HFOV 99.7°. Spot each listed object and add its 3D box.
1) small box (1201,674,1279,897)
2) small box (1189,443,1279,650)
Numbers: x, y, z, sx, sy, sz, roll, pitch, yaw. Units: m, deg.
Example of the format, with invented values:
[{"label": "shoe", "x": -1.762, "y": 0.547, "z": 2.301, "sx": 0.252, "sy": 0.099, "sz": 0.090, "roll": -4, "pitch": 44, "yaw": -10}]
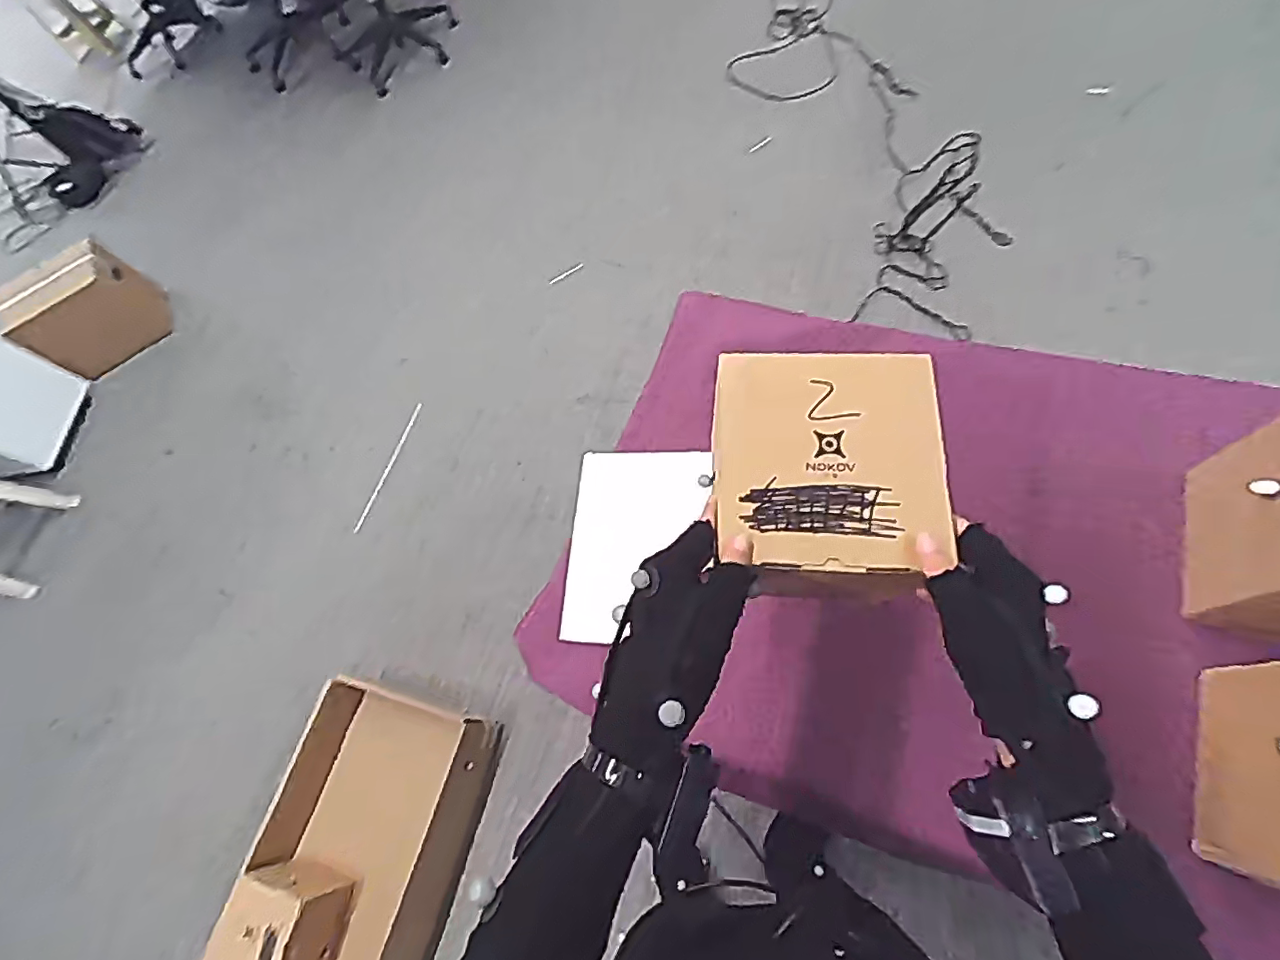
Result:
[{"label": "small box", "x": 0.591, "y": 0.264, "z": 0.413, "sx": 0.168, "sy": 0.176, "sz": 0.179, "roll": 19, "pitch": 72, "yaw": 20}, {"label": "small box", "x": 0.653, "y": 0.062, "z": 0.487, "sx": 0.168, "sy": 0.176, "sz": 0.179, "roll": 16, "pitch": 71, "yaw": 19}]
